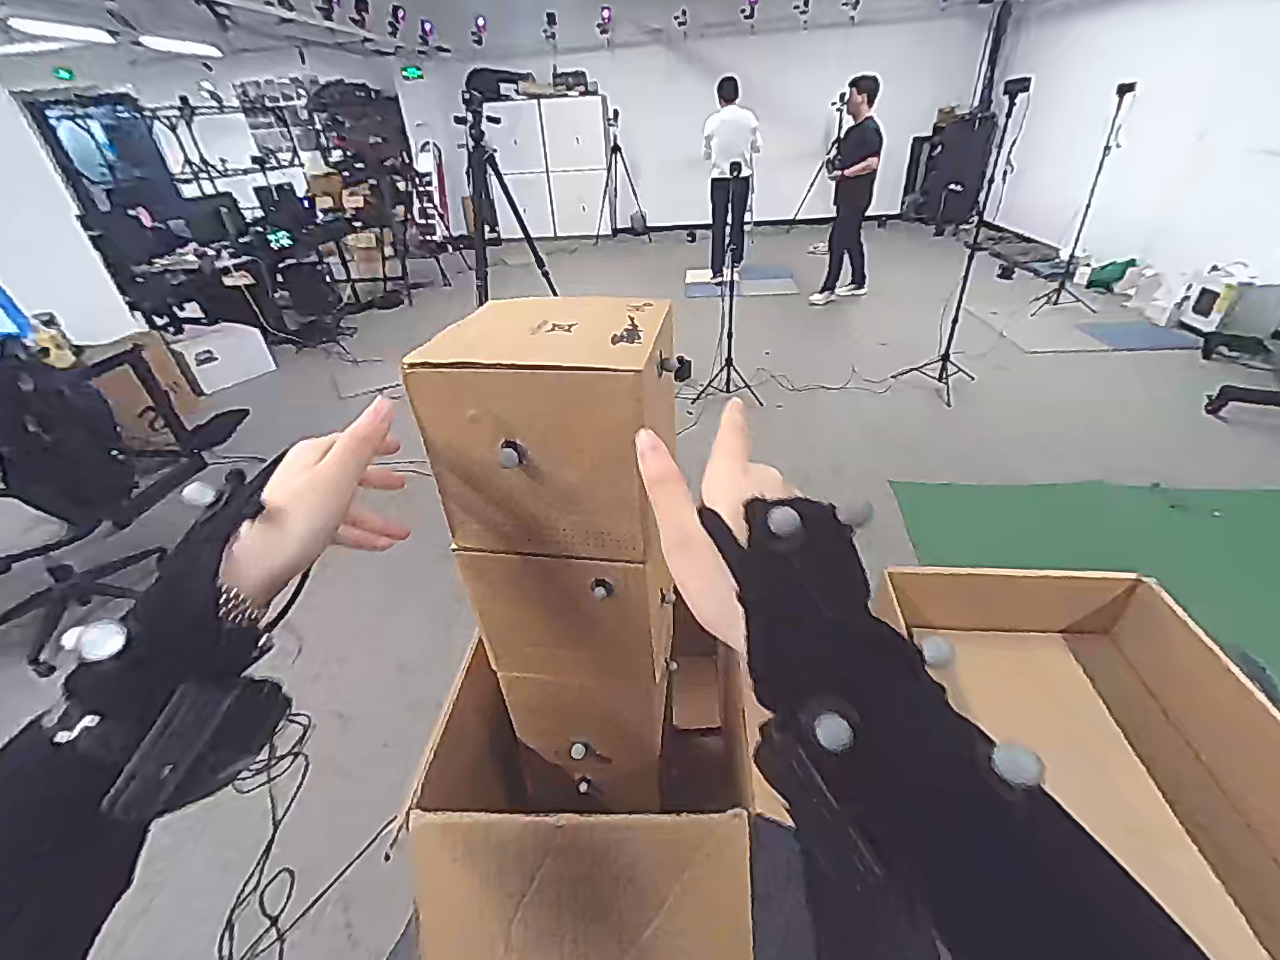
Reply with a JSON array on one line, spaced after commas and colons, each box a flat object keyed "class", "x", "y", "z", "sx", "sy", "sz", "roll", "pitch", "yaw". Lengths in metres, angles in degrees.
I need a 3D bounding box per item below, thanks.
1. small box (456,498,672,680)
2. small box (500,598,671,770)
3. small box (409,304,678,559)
[{"class": "small box", "x": -0.062, "y": 0.089, "z": 0.570, "sx": 0.179, "sy": 0.176, "sz": 0.168, "roll": 3, "pitch": 35, "yaw": 9}, {"class": "small box", "x": -0.052, "y": 0.220, "z": 0.664, "sx": 0.168, "sy": 0.176, "sz": 0.179, "roll": 2, "pitch": 36, "yaw": 8}, {"class": "small box", "x": -0.063, "y": -0.047, "z": 0.477, "sx": 0.179, "sy": 0.176, "sz": 0.168, "roll": 3, "pitch": 35, "yaw": 10}]
